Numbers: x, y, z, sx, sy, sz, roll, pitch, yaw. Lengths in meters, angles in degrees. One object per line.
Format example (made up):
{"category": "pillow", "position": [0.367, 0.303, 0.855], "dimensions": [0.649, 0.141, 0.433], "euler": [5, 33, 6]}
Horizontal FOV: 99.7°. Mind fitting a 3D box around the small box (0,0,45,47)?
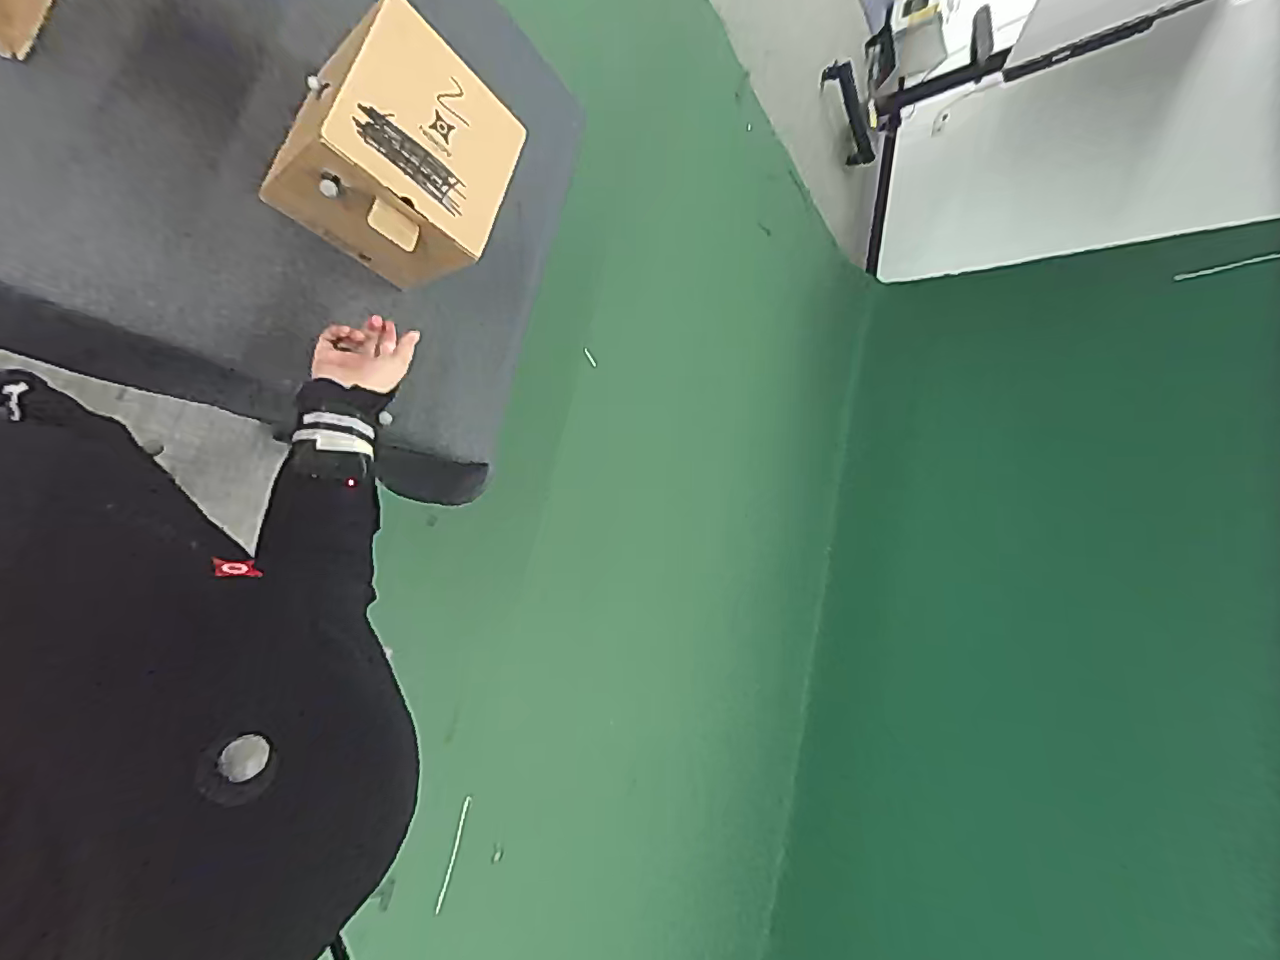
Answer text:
{"category": "small box", "position": [-0.462, -0.434, 0.331], "dimensions": [0.168, 0.176, 0.179], "euler": [24, 74, -49]}
